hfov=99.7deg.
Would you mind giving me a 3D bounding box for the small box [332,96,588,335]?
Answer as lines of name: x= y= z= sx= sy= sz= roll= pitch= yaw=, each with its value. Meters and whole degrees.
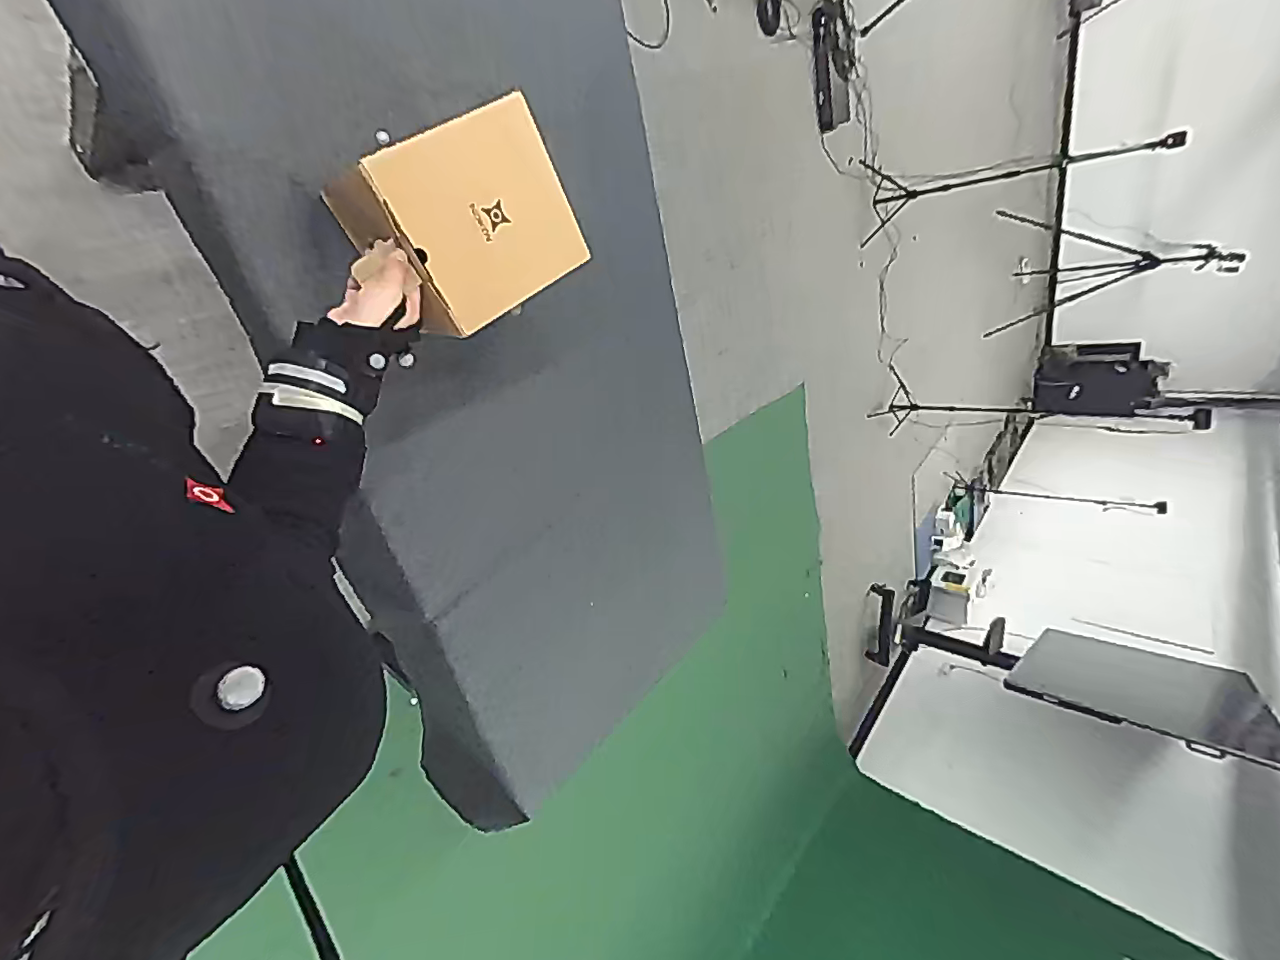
small box: x=-0.194 y=-0.279 z=0.587 sx=0.179 sy=0.176 sz=0.168 roll=-42 pitch=128 yaw=-22
